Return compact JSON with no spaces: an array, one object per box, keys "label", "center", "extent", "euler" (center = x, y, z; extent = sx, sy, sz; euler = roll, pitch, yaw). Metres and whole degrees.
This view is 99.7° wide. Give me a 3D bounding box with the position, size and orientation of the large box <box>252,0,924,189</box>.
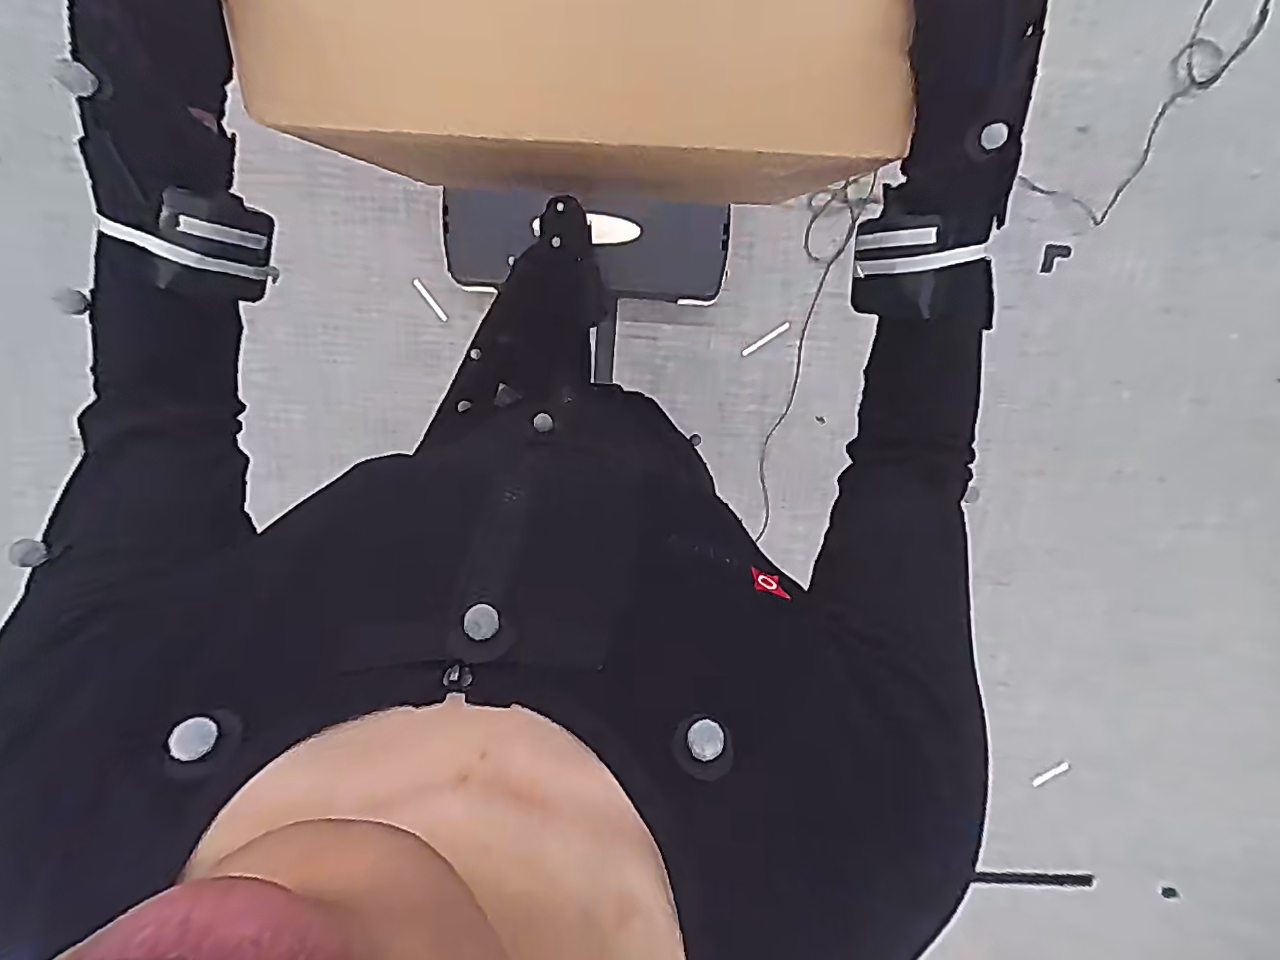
[{"label":"large box","center":[-0.031,-0.422,0.422],"extent":[0.408,0.320,0.320],"euler":[1,113,-3]}]
